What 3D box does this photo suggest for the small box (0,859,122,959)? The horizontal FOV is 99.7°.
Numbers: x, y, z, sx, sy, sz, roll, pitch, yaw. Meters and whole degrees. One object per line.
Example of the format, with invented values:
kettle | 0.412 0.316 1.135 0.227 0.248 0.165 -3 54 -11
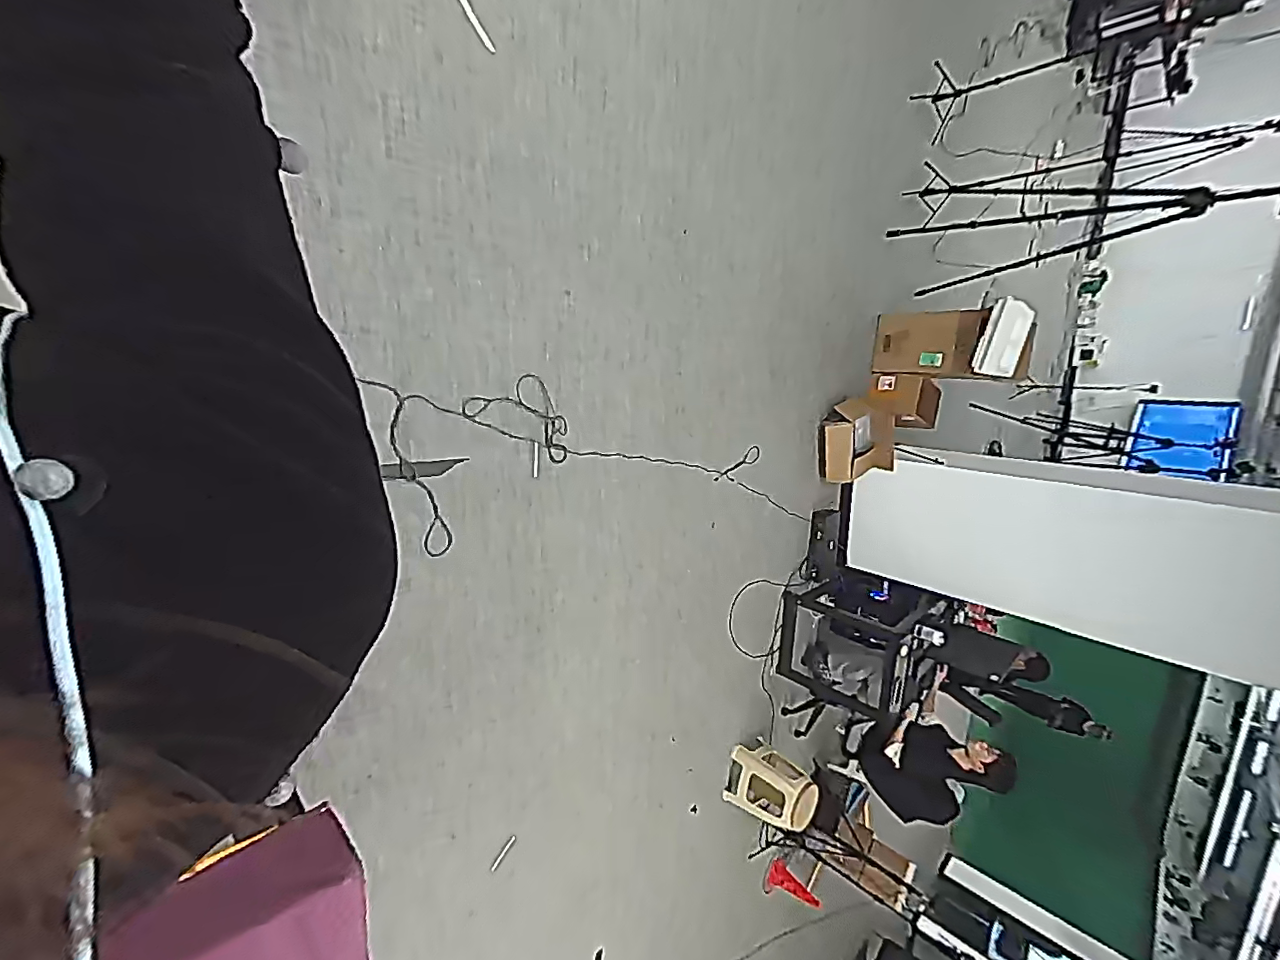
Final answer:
small box | -1.198 0.943 1.111 0.179 0.176 0.168 -11 107 -43
